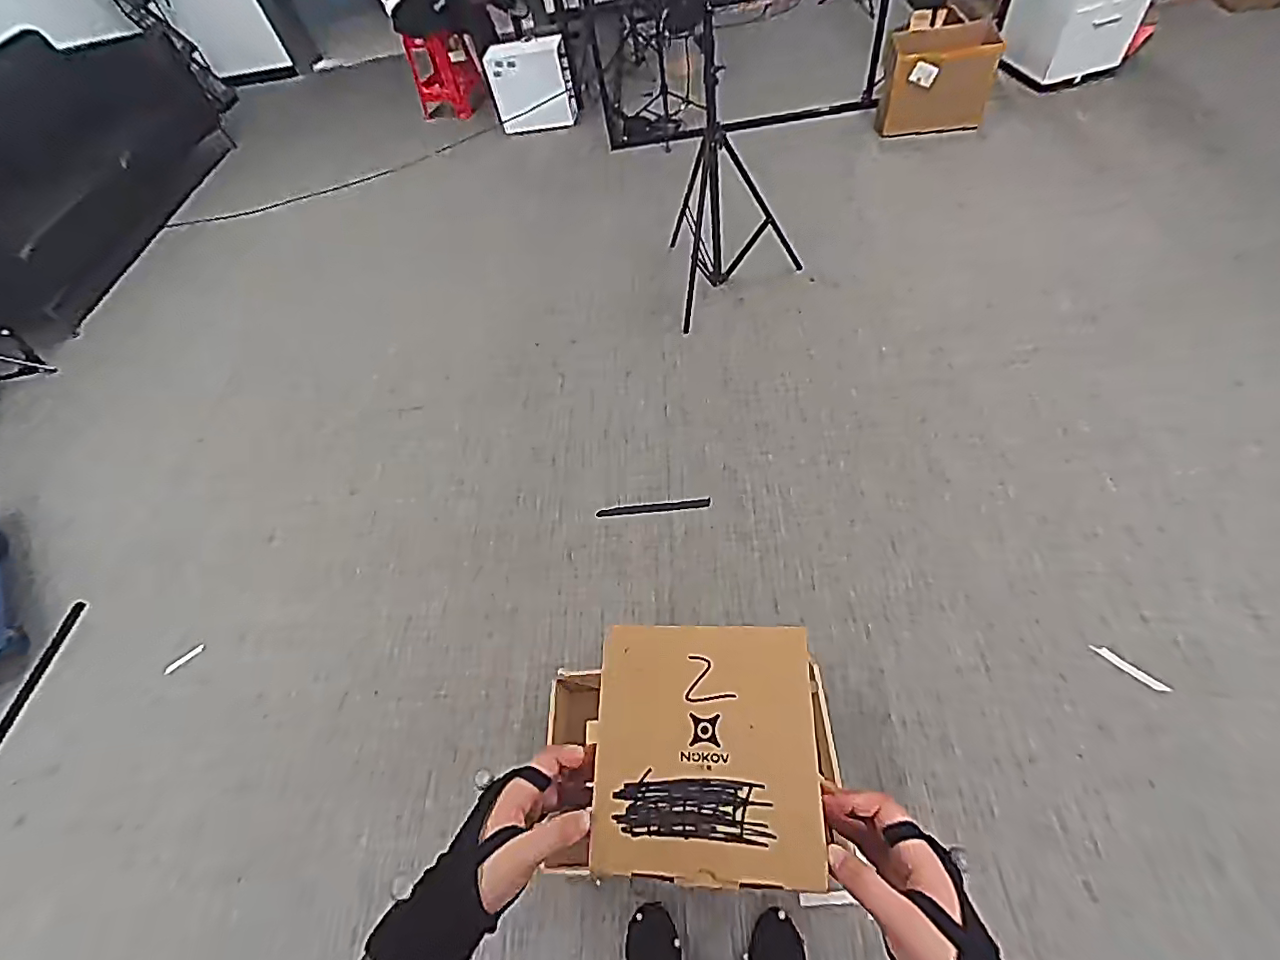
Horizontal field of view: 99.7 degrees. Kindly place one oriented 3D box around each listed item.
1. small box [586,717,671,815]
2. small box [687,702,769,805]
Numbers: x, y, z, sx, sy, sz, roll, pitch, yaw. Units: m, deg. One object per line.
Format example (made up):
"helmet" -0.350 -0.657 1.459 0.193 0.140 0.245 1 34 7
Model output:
"small box" -0.022 0.639 1.201 0.168 0.176 0.179 -6 55 4
"small box" 0.193 0.603 1.190 0.168 0.176 0.179 -2 56 10
